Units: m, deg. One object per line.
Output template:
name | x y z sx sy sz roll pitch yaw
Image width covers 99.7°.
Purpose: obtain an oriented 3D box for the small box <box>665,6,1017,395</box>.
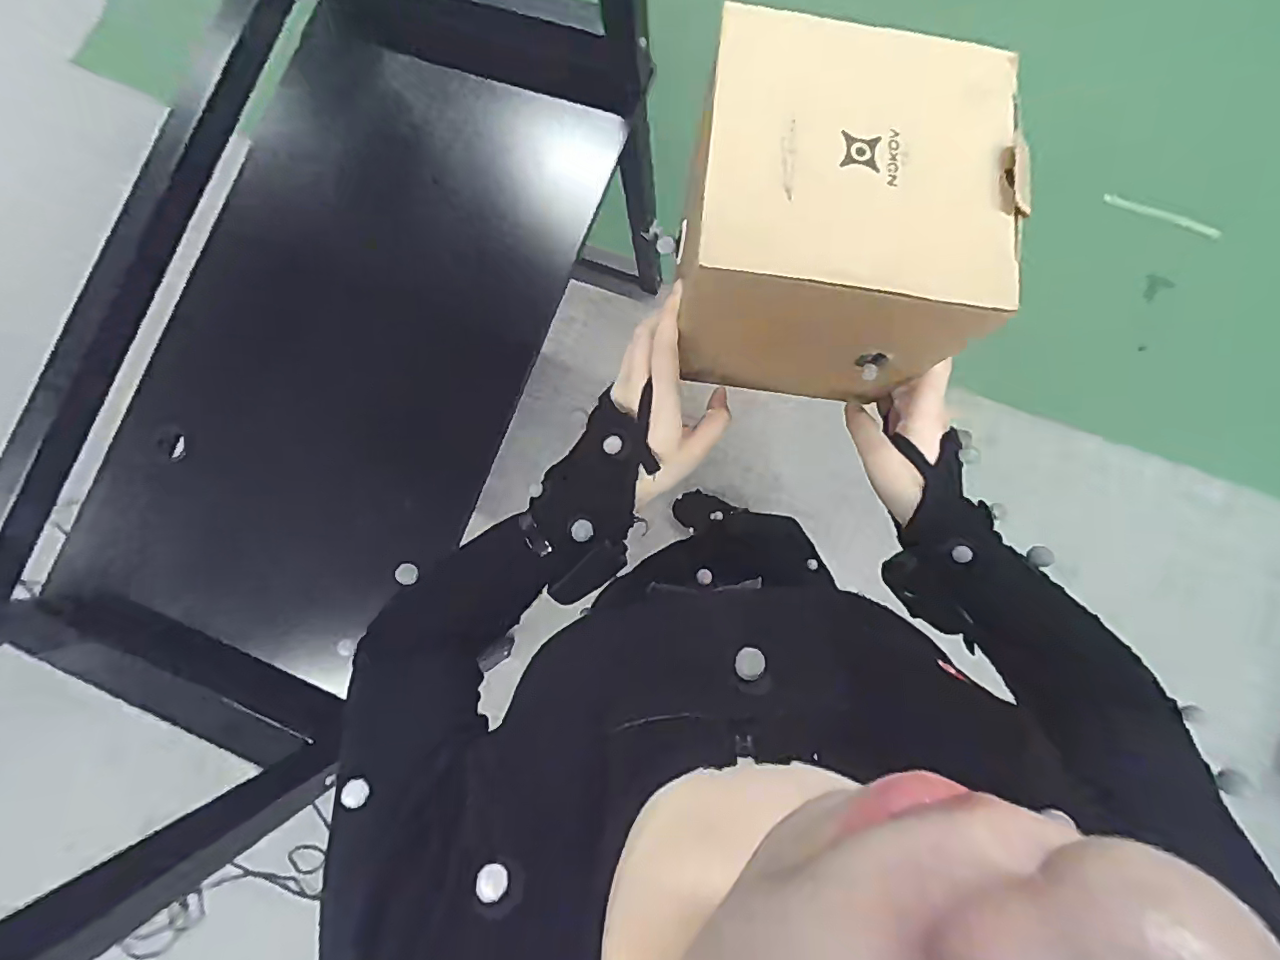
small box | 0.120 -0.168 0.379 0.179 0.176 0.168 6 79 -2
